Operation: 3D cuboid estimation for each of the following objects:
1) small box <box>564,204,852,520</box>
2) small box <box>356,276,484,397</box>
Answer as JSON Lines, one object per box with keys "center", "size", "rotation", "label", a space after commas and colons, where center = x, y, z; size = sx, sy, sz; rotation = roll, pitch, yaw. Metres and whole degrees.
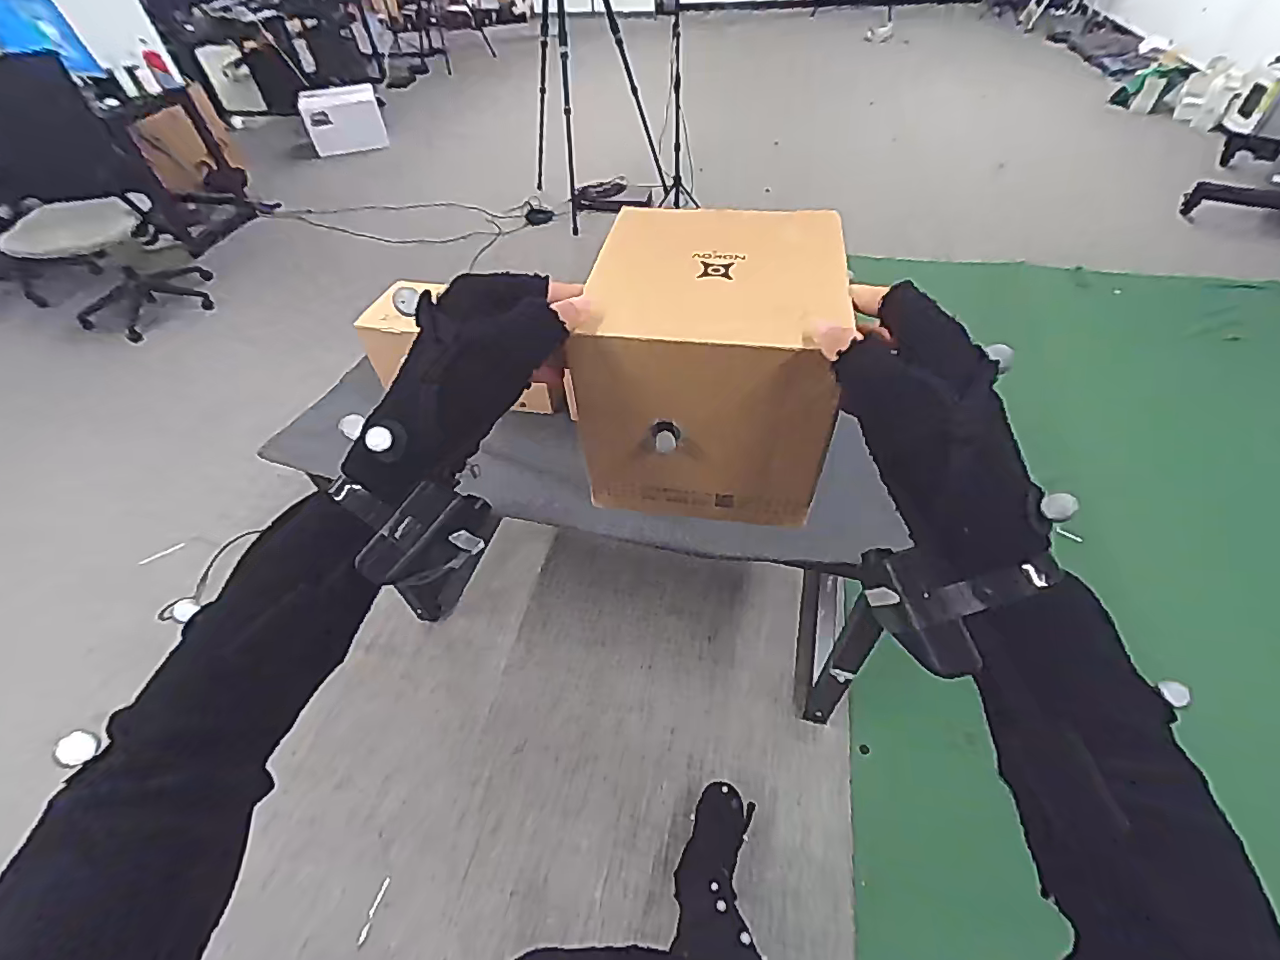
{"center": [0.055, -0.089, 0.413], "size": [0.168, 0.176, 0.179], "rotation": [6, 49, 9], "label": "small box"}
{"center": [-0.447, -0.302, 1.136], "size": [0.168, 0.176, 0.179], "rotation": [9, 50, 11], "label": "small box"}
